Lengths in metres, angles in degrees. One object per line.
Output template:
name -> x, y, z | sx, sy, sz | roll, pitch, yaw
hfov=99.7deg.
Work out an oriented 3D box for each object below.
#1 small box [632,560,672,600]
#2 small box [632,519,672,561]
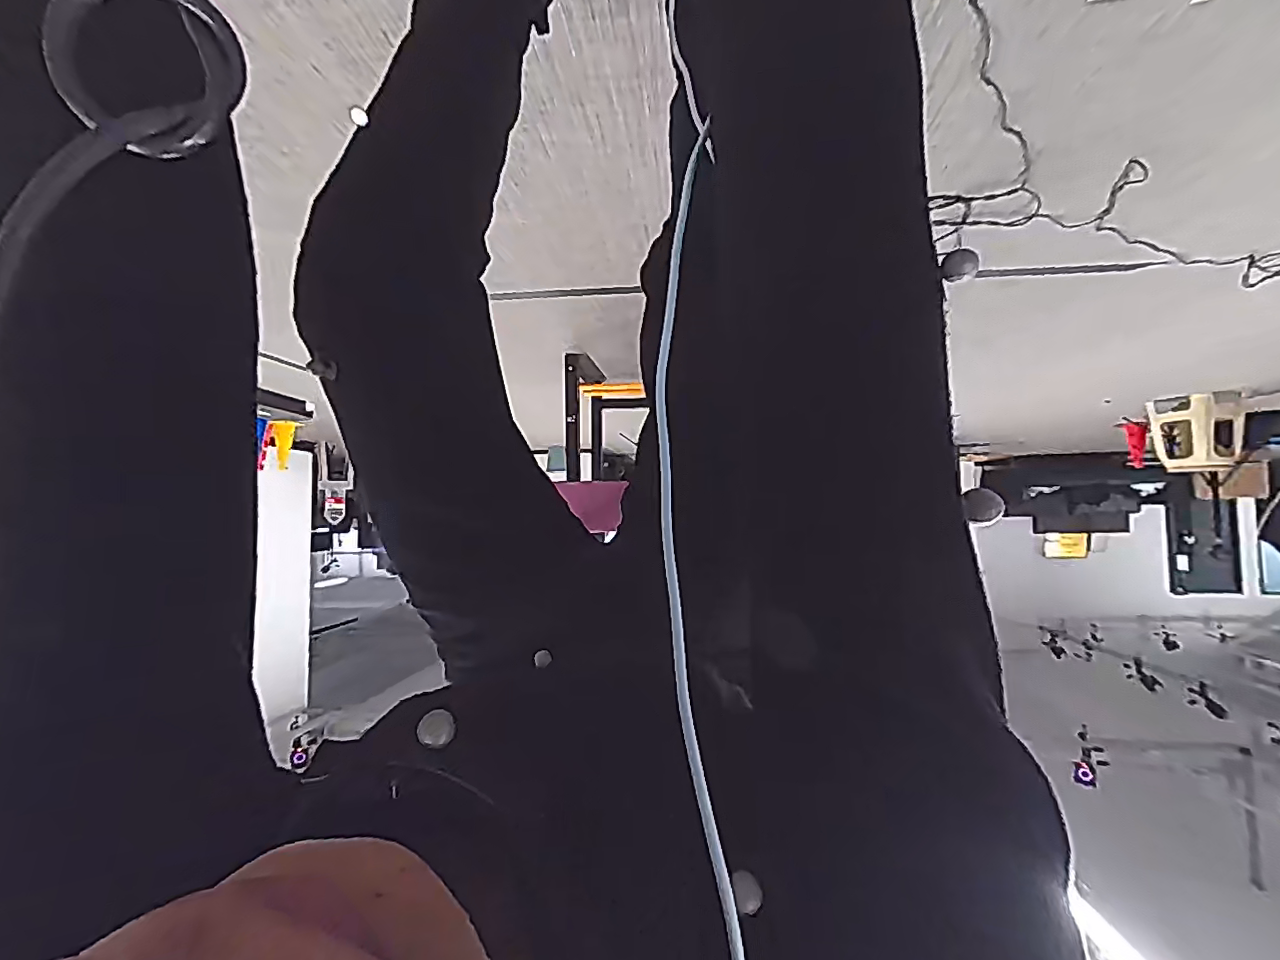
small box -> 0.056, 0.427, 2.375 | 0.168, 0.176, 0.179 | -1, 177, 5
small box -> 0.053, 0.263, 2.371 | 0.168, 0.176, 0.179 | -1, 178, 6
